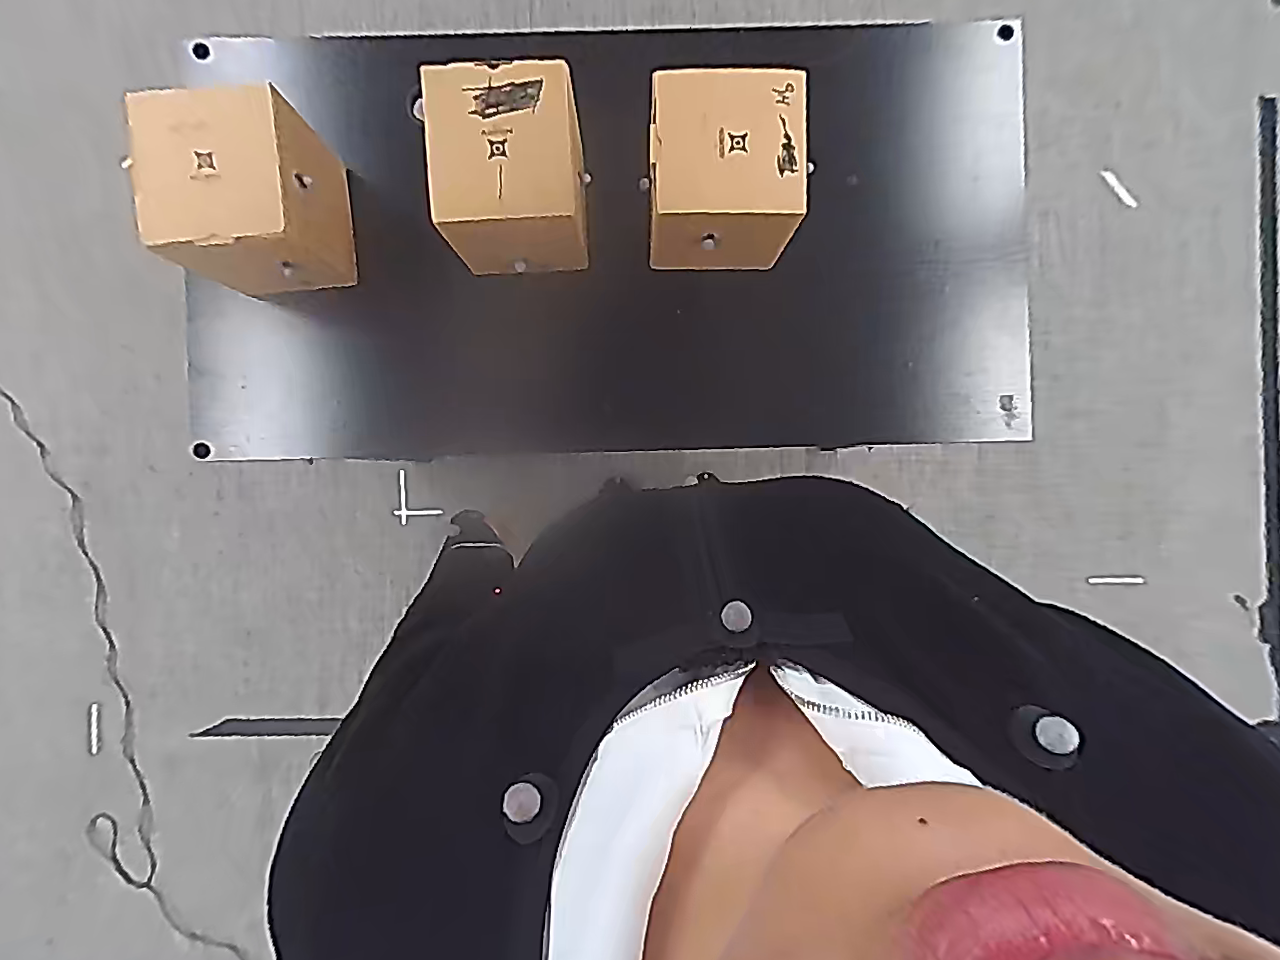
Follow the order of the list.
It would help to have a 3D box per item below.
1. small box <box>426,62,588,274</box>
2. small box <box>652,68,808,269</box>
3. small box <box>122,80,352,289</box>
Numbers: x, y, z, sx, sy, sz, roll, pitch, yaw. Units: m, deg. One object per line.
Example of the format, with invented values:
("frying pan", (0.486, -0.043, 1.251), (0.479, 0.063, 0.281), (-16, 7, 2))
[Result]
("small box", (-0.156, -0.380, 0.685), (0.168, 0.176, 0.179), (-3, 91, 0))
("small box", (0.103, -0.380, 0.687), (0.179, 0.176, 0.168), (0, 90, 0))
("small box", (-0.488, -0.354, 0.683), (0.168, 0.176, 0.179), (-6, 90, -2))
